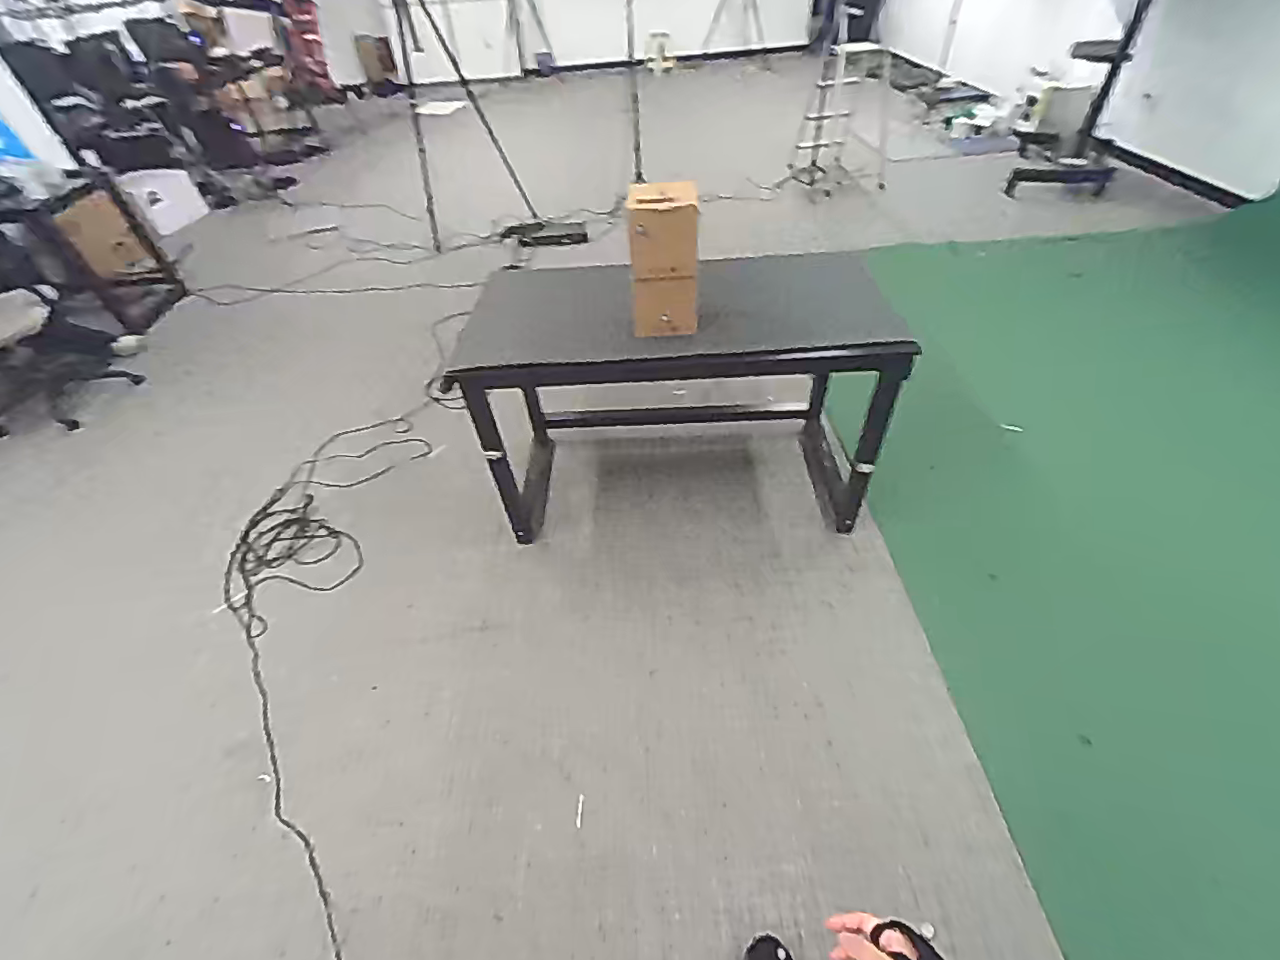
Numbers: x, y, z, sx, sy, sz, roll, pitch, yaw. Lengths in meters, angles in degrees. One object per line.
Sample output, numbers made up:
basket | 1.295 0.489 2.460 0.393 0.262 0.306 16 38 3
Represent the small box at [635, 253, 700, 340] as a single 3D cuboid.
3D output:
small box | 0.076 -0.496 1.465 0.168 0.176 0.179 -2 44 4
